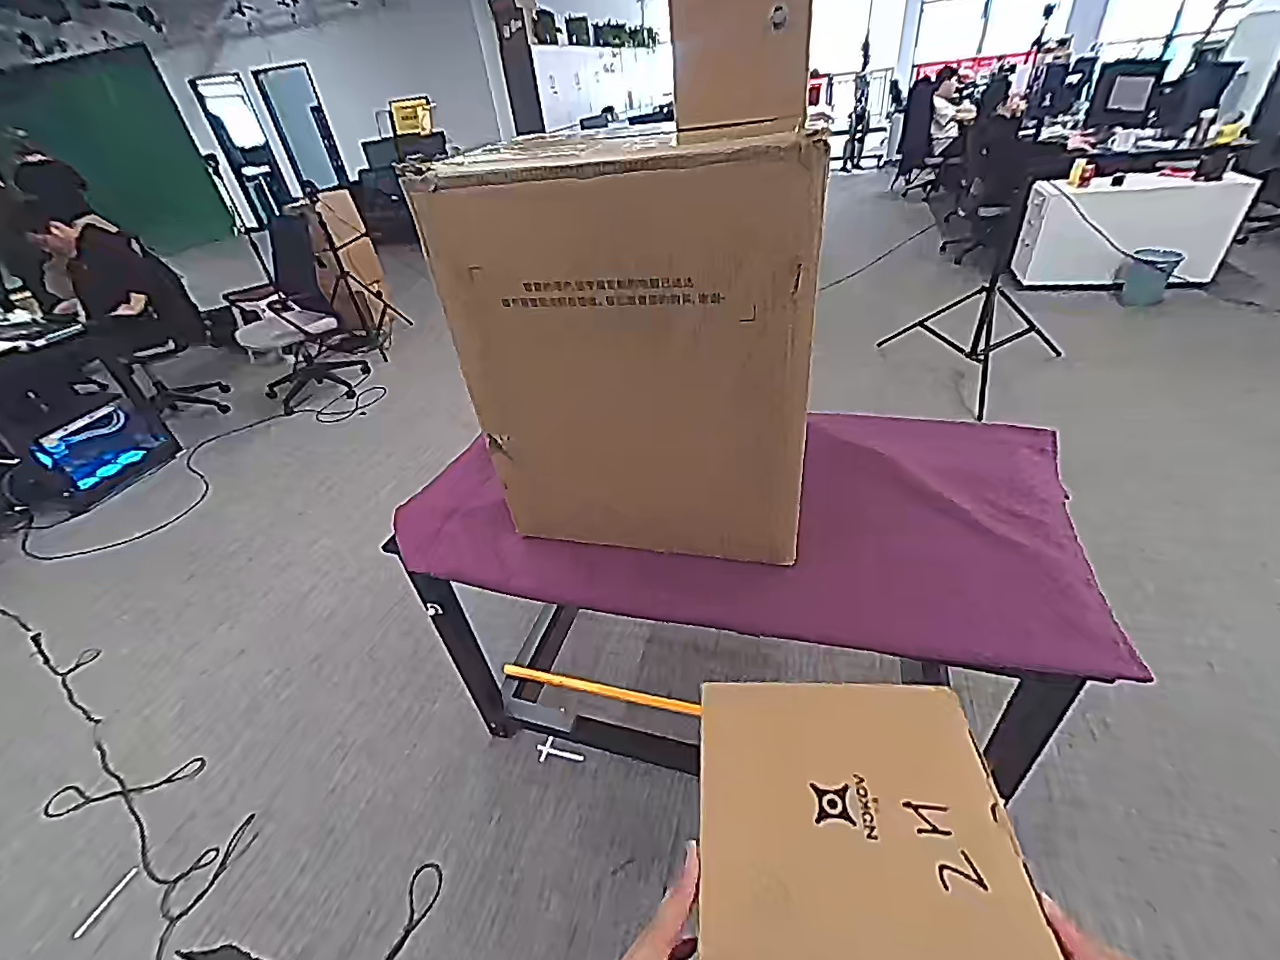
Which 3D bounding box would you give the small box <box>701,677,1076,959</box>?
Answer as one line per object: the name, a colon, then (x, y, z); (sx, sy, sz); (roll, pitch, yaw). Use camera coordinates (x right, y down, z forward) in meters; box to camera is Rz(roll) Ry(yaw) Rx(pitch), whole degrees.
small box: (0.135, 0.255, 0.363); (0.179, 0.176, 0.168); (-2, 35, 9)
